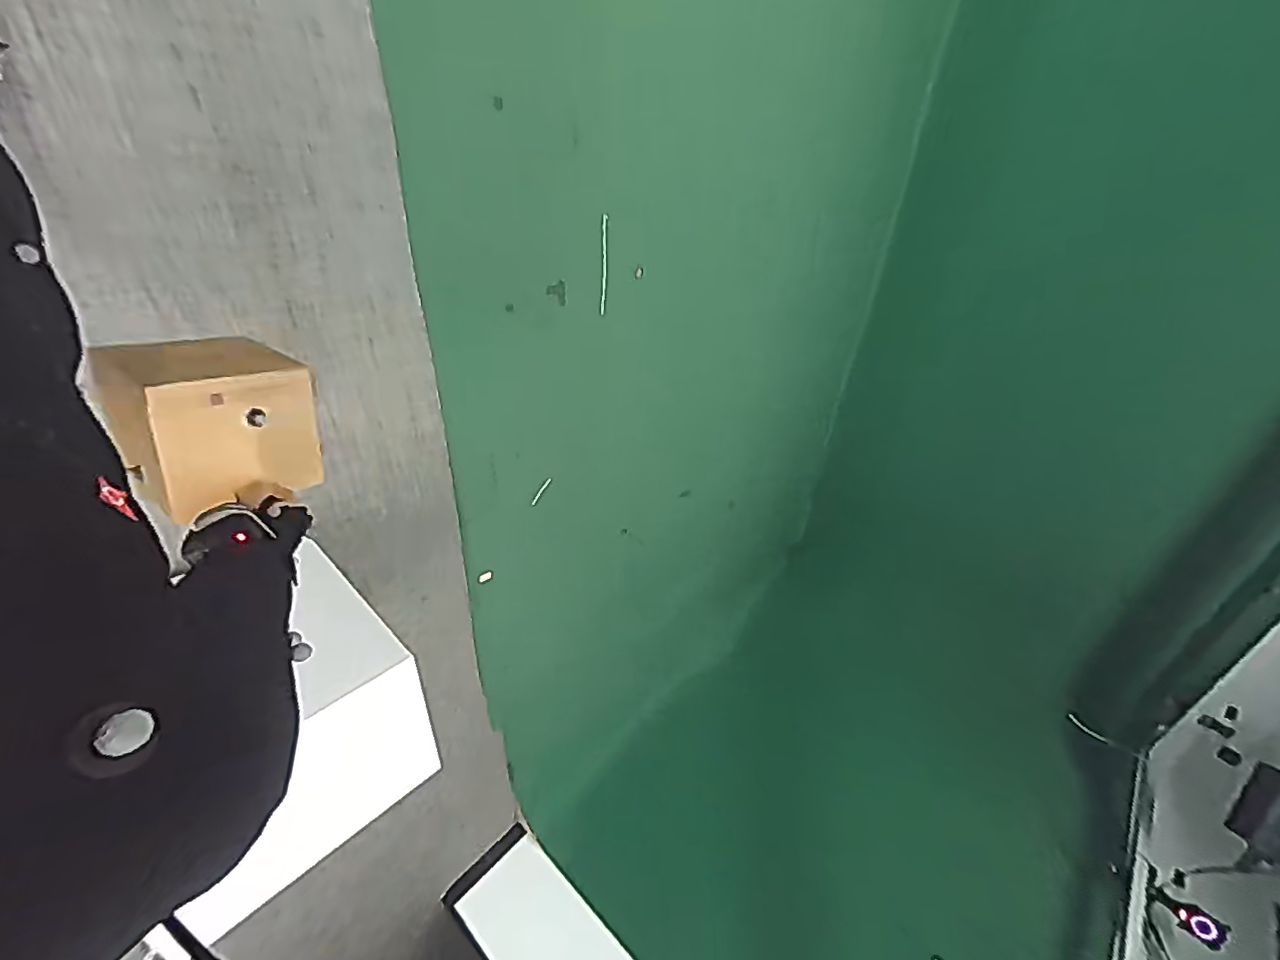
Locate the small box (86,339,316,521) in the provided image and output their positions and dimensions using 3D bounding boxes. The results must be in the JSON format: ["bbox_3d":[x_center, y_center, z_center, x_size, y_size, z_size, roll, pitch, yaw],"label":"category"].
[{"bbox_3d":[-0.542,-0.076,0.677,0.168,0.179,0.176,-27,129,-50],"label":"small box"}]
